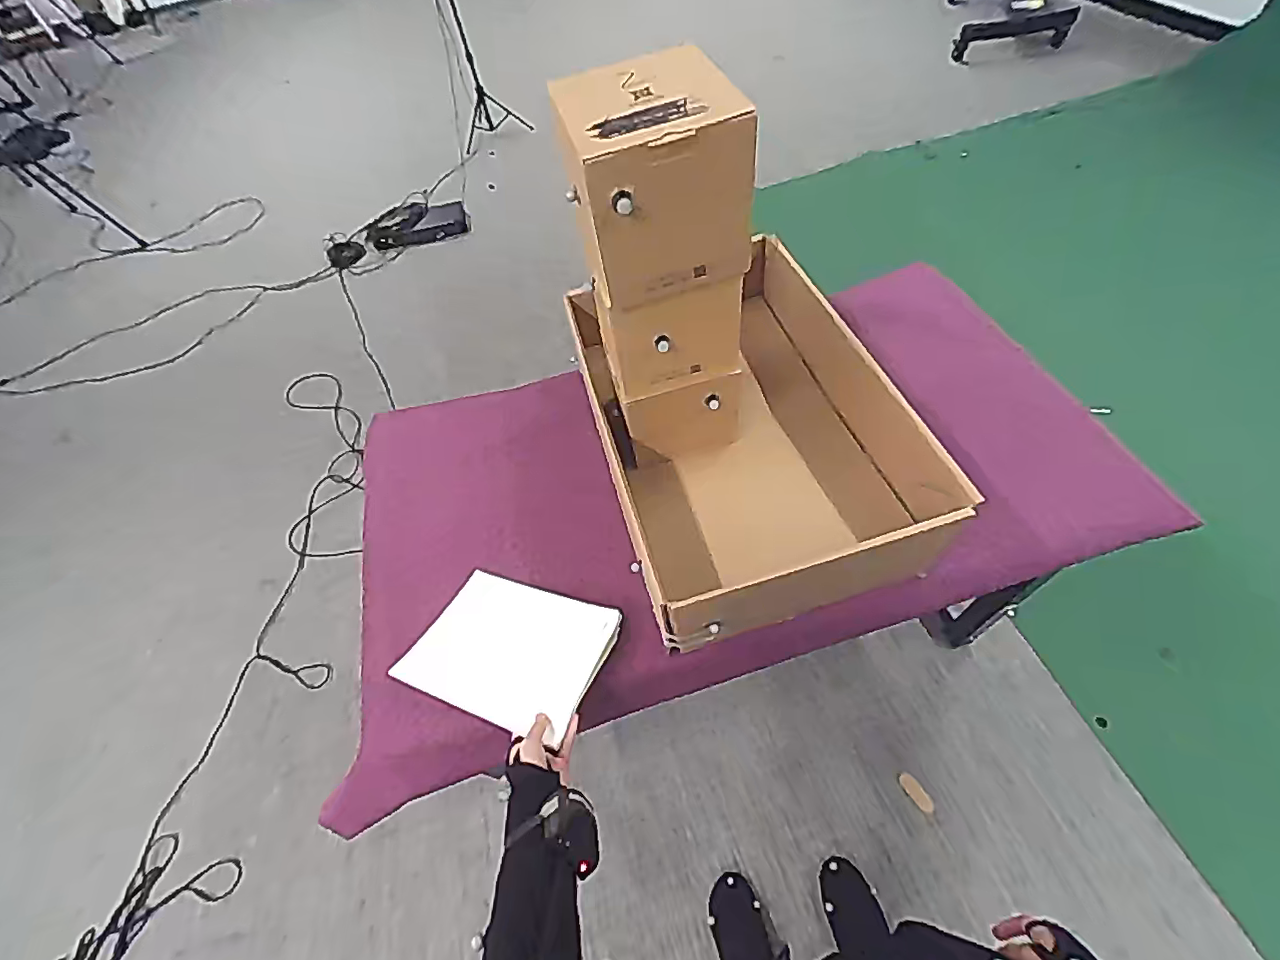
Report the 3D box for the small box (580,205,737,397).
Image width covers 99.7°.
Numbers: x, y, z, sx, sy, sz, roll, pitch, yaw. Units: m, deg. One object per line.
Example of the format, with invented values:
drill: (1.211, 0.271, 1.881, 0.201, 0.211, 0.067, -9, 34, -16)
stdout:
small box: (0.028, -0.233, 0.736, 0.168, 0.176, 0.179, -16, 55, -2)
